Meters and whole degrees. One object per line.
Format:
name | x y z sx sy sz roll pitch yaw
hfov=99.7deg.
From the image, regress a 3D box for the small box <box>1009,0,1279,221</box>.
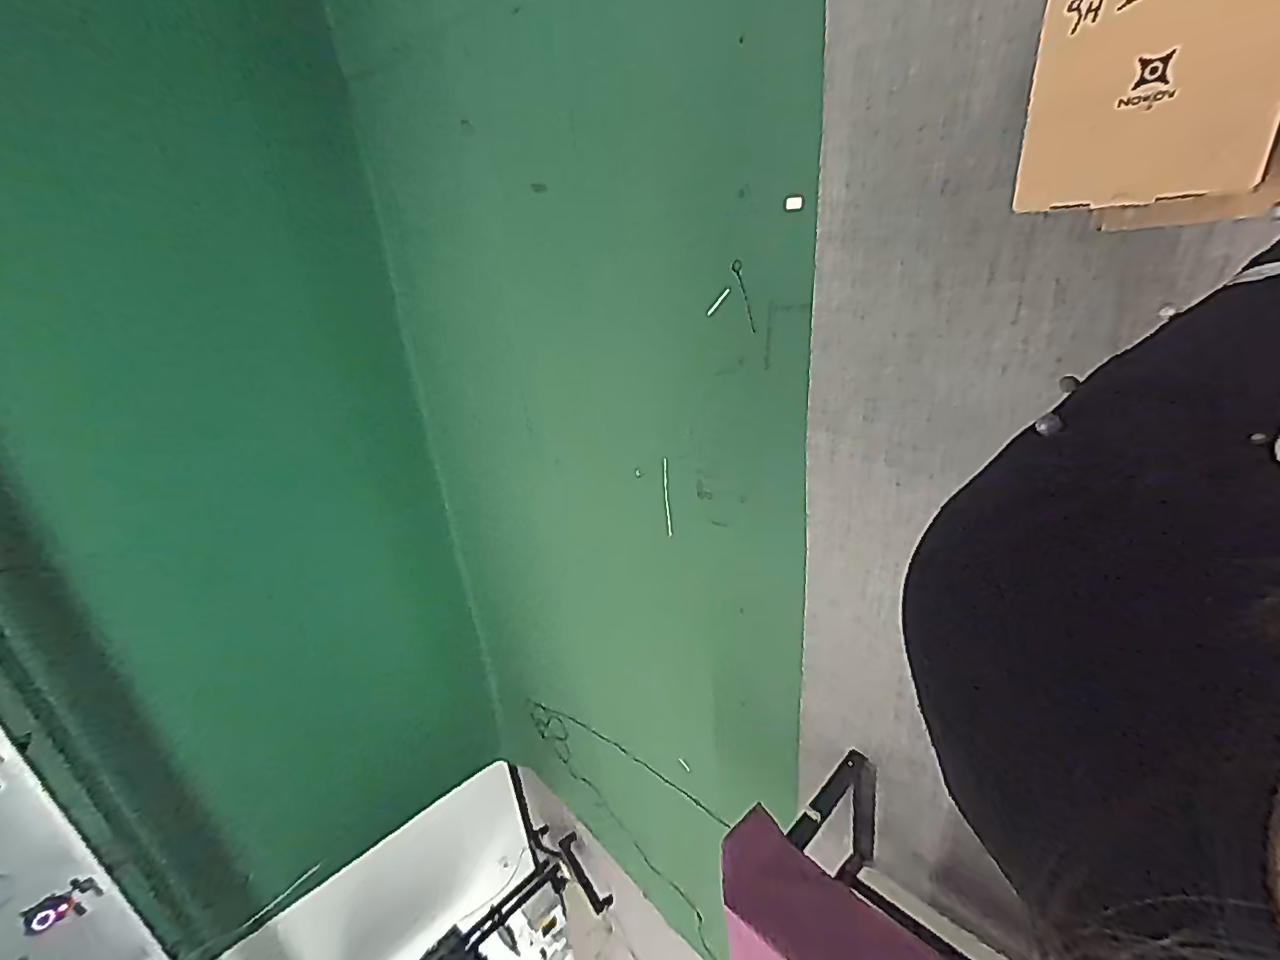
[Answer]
small box | 0.471 -0.344 0.494 0.168 0.176 0.179 19 125 42
